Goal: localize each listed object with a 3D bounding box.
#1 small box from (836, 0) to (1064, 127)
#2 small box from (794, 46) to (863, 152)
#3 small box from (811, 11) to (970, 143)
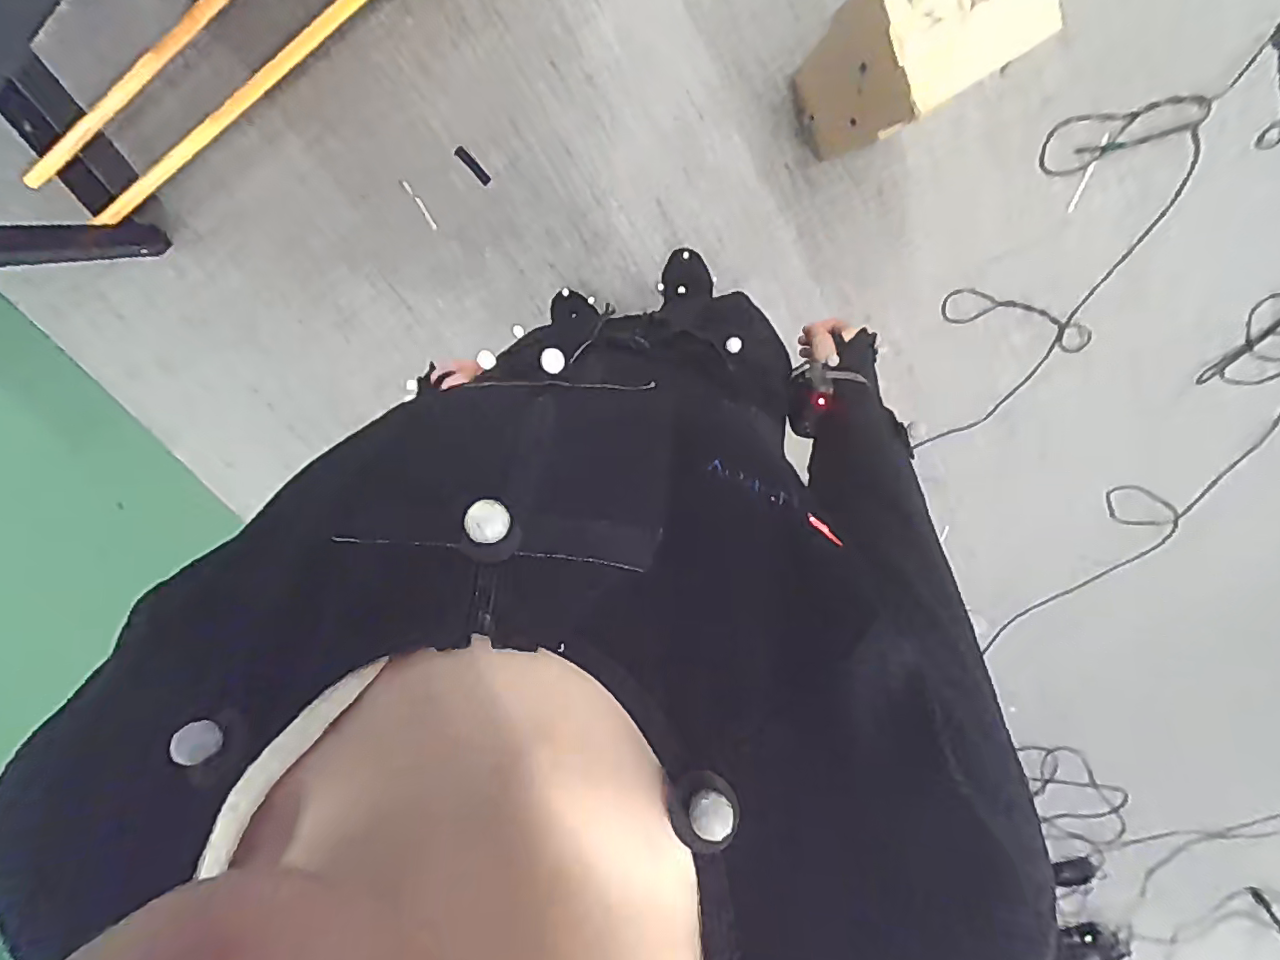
[{"bbox_3d":[0.379,-0.587,0.687,0.179,0.176,0.168,-27,112,14],"label":"small box"},{"bbox_3d":[0.401,-0.725,0.982,0.168,0.176,0.179,-25,114,13],"label":"small box"},{"bbox_3d":[0.390,-0.653,0.838,0.168,0.176,0.179,-28,111,14],"label":"small box"}]
